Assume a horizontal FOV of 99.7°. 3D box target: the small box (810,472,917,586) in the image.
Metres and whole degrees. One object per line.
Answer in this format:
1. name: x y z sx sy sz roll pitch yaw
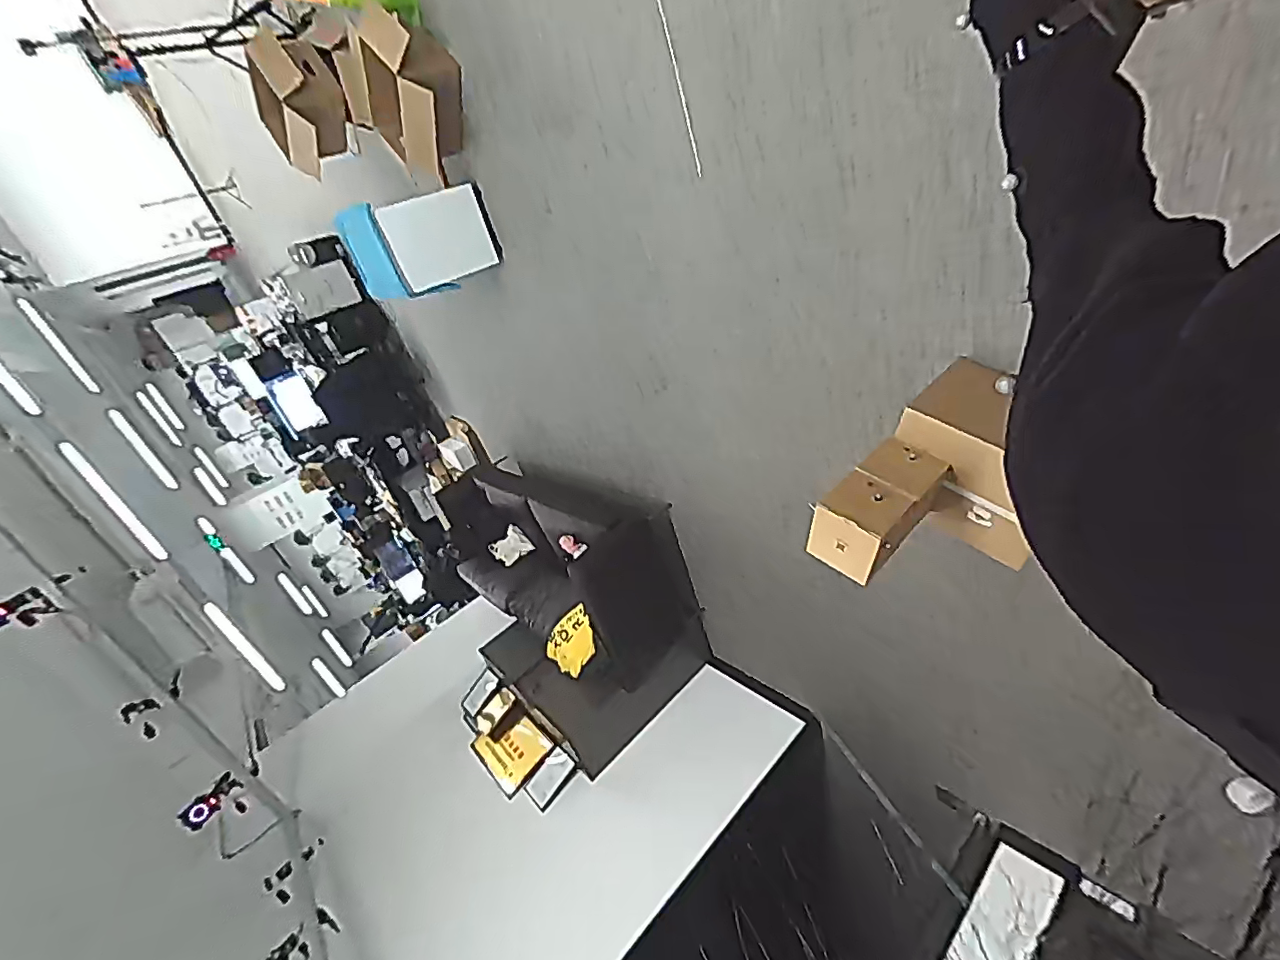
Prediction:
1. small box: 0.540 0.114 1.312 0.168 0.176 0.179 33 144 35
